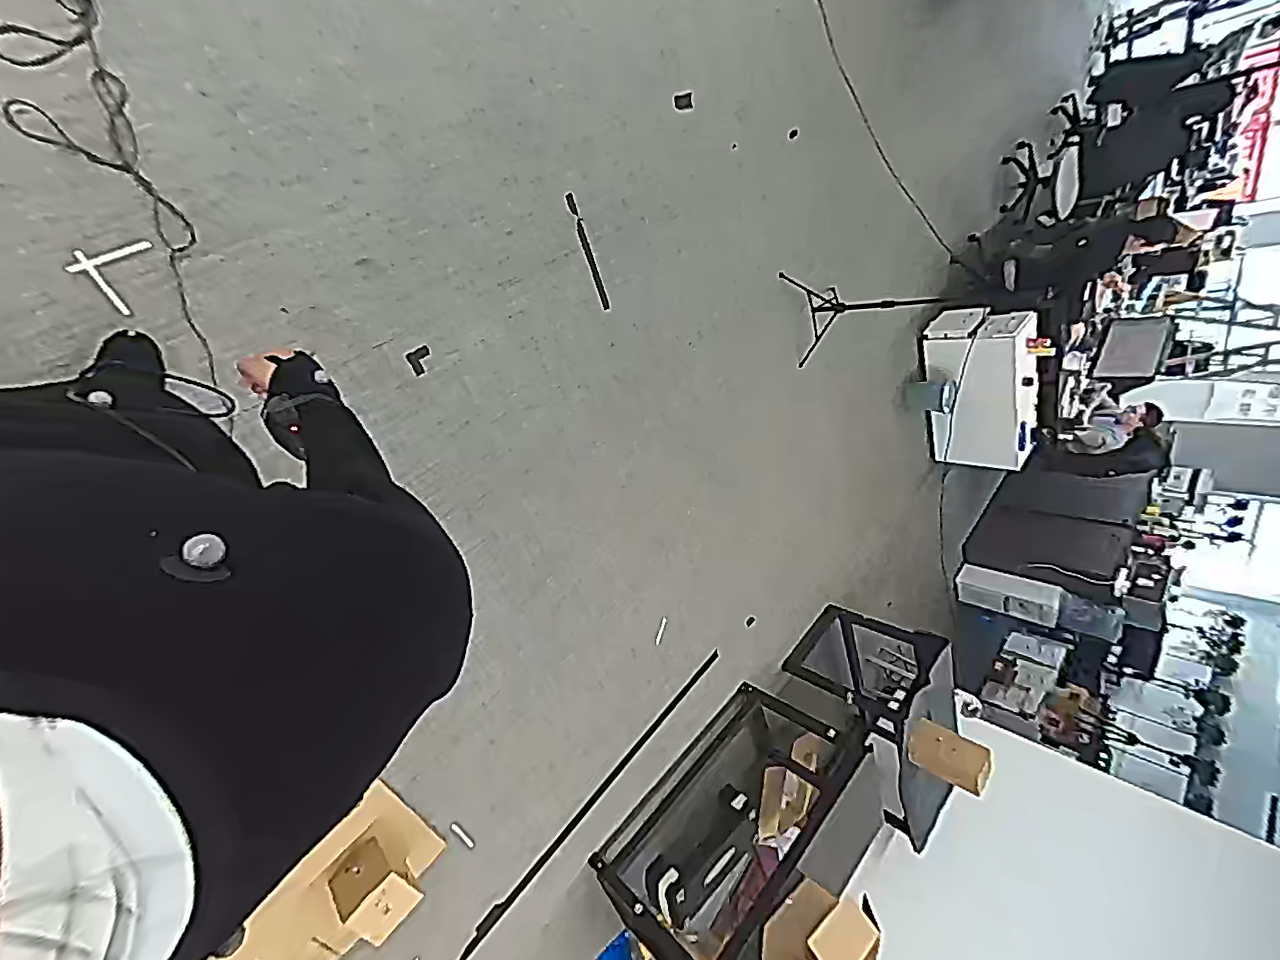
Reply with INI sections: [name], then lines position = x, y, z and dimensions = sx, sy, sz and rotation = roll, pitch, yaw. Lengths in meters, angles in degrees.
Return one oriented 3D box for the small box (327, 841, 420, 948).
[small box]
position = -0.817, 1.258, 1.653
dimensions = 0.168, 0.176, 0.179
rotation = -42, 124, -29
